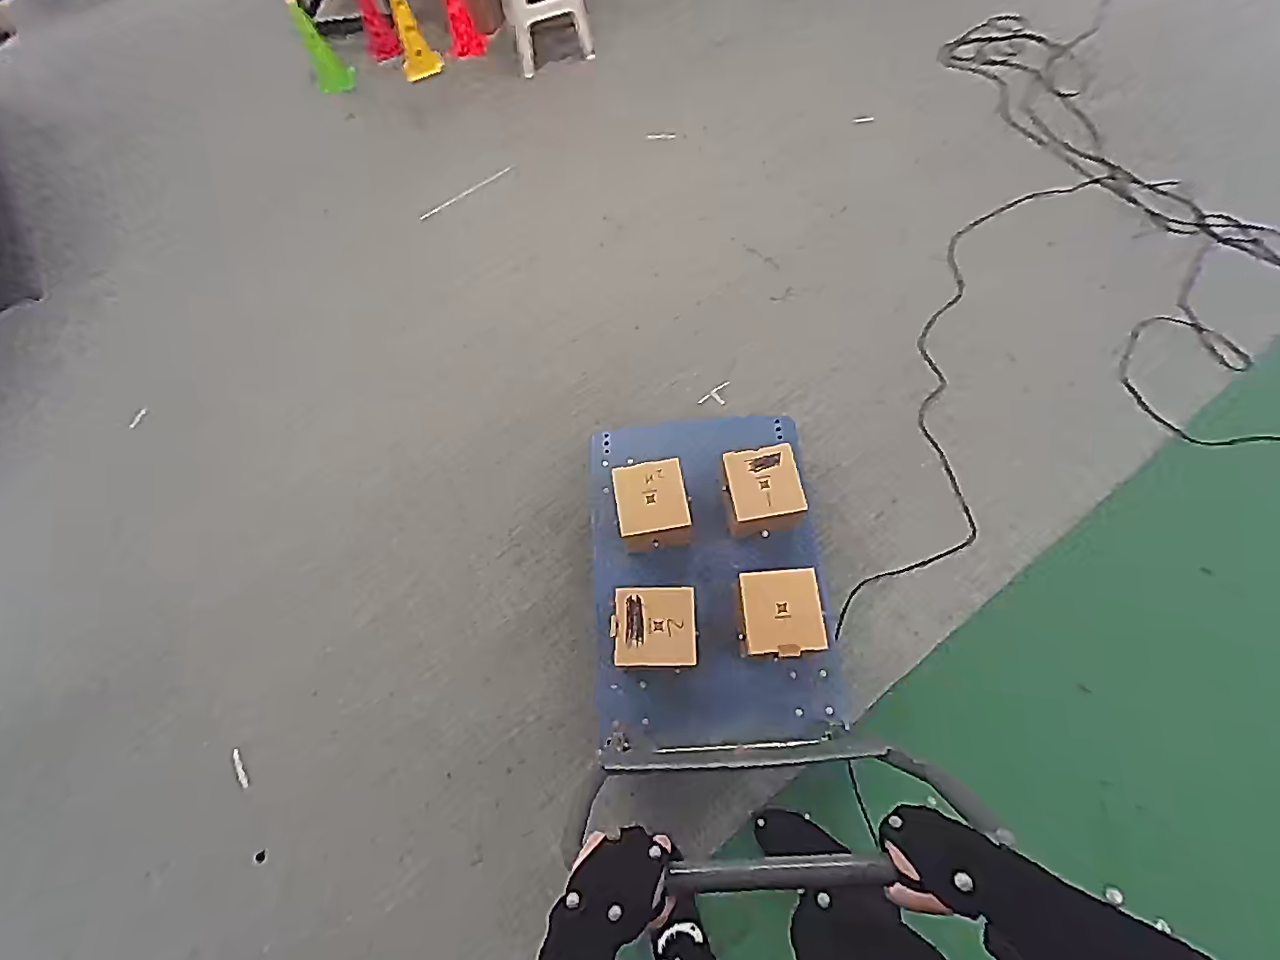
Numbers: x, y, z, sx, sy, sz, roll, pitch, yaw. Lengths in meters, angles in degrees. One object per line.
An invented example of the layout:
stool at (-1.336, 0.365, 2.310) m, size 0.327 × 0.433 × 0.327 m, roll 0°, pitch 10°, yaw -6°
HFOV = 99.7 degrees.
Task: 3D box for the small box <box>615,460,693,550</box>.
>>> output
small box at (0.037, 0.070, 1.342) m, size 0.168 × 0.176 × 0.179 m, roll -9°, pitch 68°, yaw 0°

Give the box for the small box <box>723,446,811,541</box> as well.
small box at (0.304, 0.037, 1.337) m, size 0.168 × 0.176 × 0.179 m, roll -9°, pitch 68°, yaw 1°

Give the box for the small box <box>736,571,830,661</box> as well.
small box at (0.314, 0.313, 1.228) m, size 0.168 × 0.176 × 0.179 m, roll -4°, pitch 69°, yaw 2°
